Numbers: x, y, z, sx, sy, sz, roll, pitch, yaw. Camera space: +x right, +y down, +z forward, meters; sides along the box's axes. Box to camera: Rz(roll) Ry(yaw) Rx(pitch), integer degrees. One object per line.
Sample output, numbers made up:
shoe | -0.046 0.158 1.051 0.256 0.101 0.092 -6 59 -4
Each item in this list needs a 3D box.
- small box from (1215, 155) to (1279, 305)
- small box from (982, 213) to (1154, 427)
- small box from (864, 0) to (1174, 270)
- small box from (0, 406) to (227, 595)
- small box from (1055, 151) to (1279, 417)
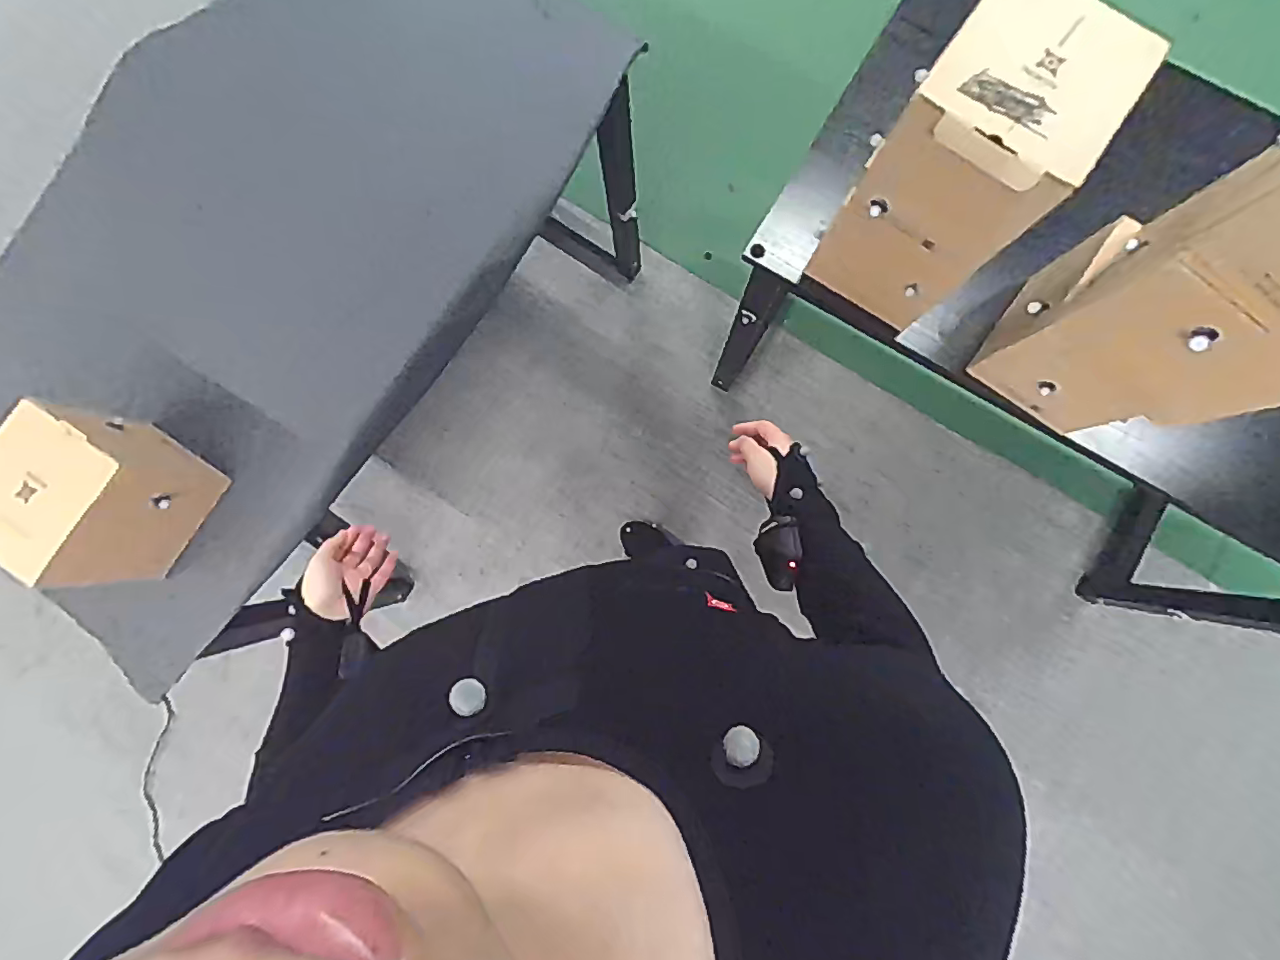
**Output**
small box | 0.580 -0.211 0.374 0.179 0.176 0.168 -43 84 -1
small box | 0.589 -0.189 0.699 0.168 0.176 0.179 36 87 4
small box | 0.361 -0.356 0.558 0.168 0.176 0.179 35 86 4
small box | -0.715 0.031 0.728 0.168 0.176 0.179 31 87 7
small box | 0.583 -0.180 0.536 0.179 0.176 0.168 44 88 6
